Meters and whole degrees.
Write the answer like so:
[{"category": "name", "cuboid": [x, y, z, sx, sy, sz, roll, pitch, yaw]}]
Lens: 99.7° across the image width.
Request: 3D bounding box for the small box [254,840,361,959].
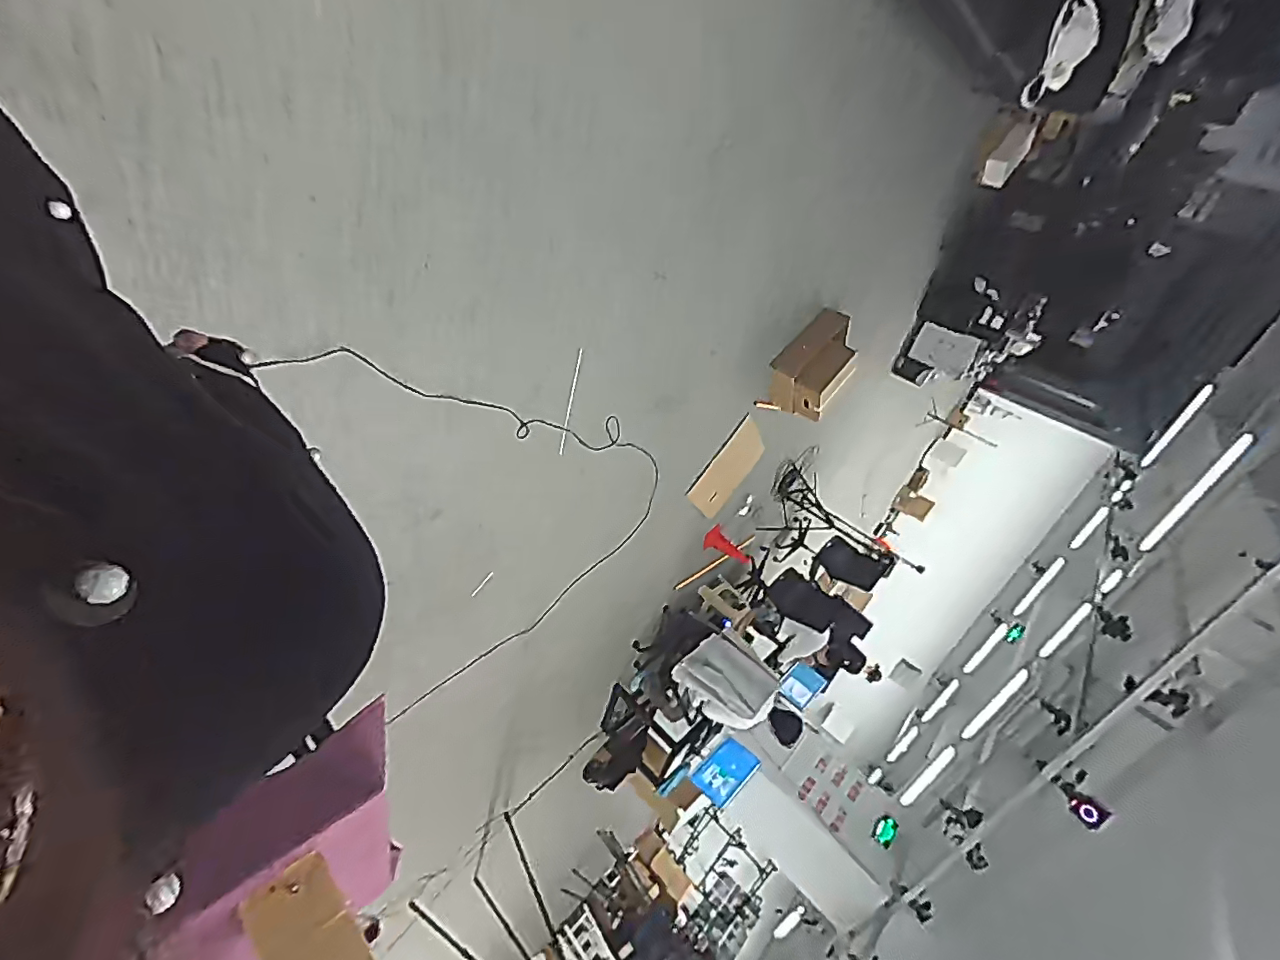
[{"category": "small box", "cuboid": [-0.778, 0.999, 1.272, 0.168, 0.176, 0.179, -22, 137, -44]}]
